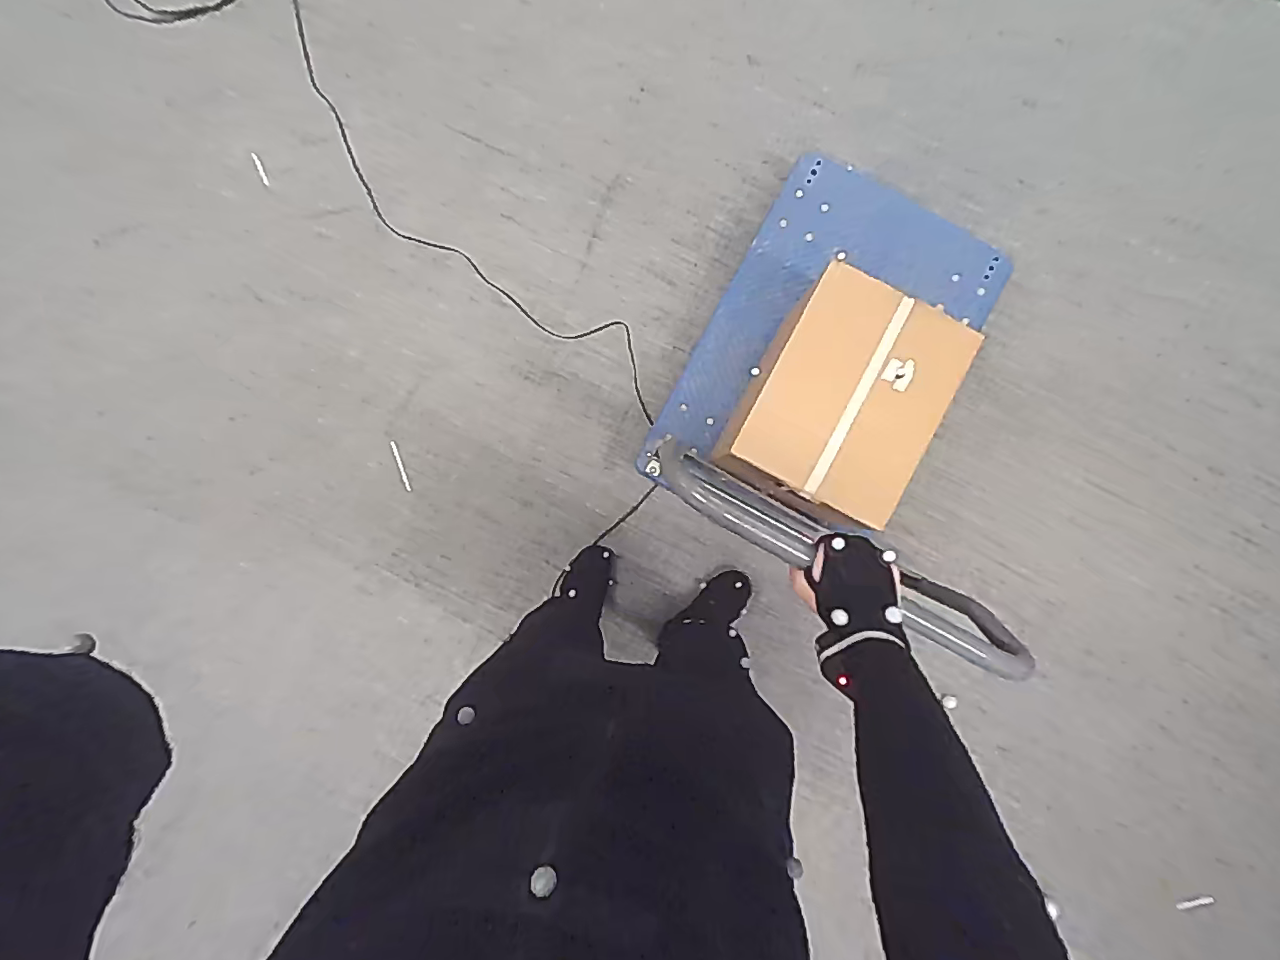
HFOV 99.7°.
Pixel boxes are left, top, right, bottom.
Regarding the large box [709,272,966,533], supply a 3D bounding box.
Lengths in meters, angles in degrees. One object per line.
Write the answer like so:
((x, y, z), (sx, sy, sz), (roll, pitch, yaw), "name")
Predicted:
((0.380, -0.137, 1.140), (0.320, 0.320, 0.408), (28, 88, 0), "large box")
